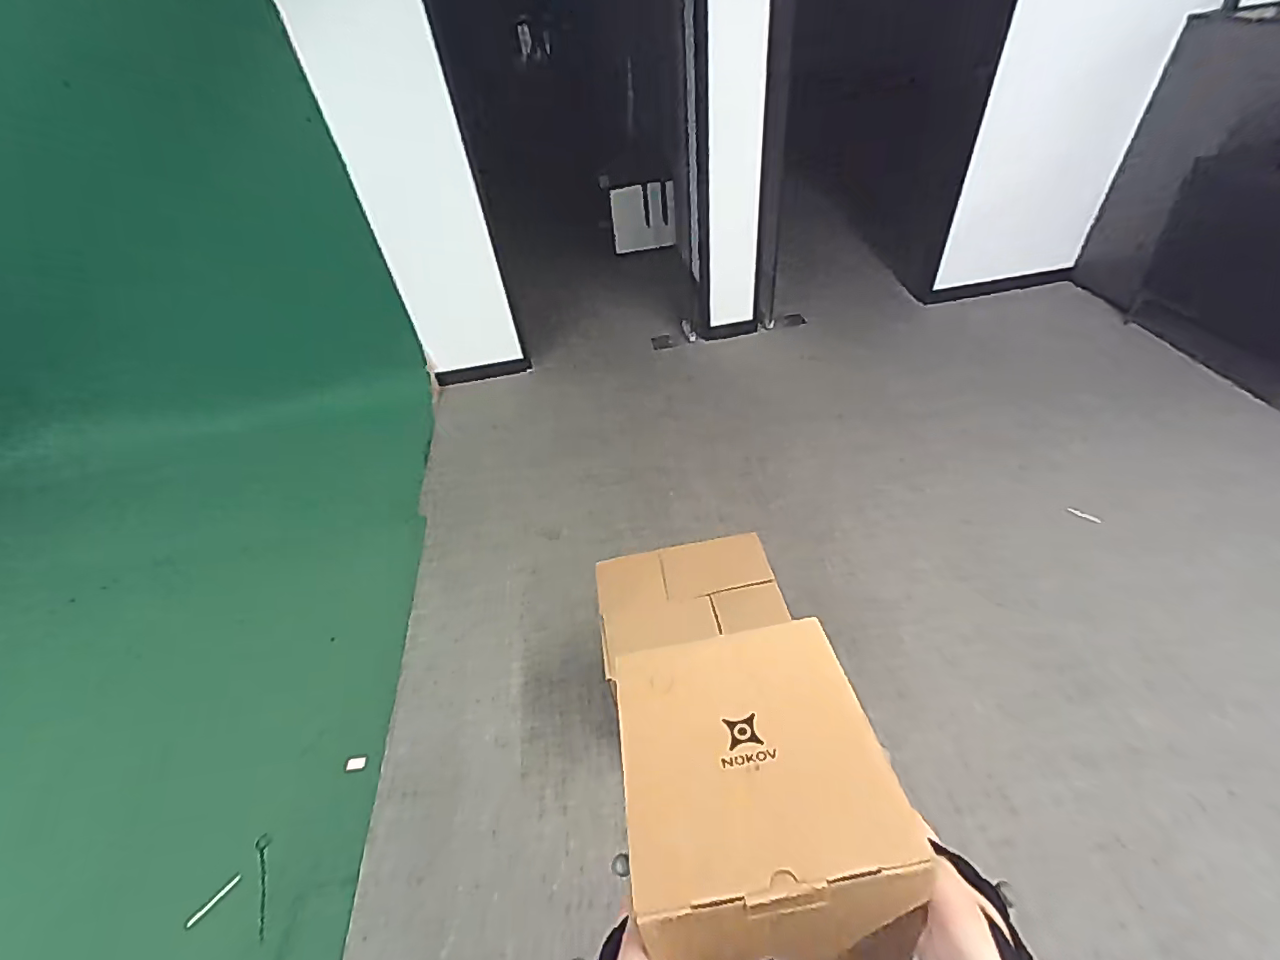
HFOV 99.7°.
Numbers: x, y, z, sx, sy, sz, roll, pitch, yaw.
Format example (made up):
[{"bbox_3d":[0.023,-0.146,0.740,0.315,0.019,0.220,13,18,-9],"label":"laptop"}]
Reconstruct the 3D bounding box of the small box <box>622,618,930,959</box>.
[{"bbox_3d":[0.081,0.235,0.406,0.168,0.176,0.179,-10,34,1],"label":"small box"}]
